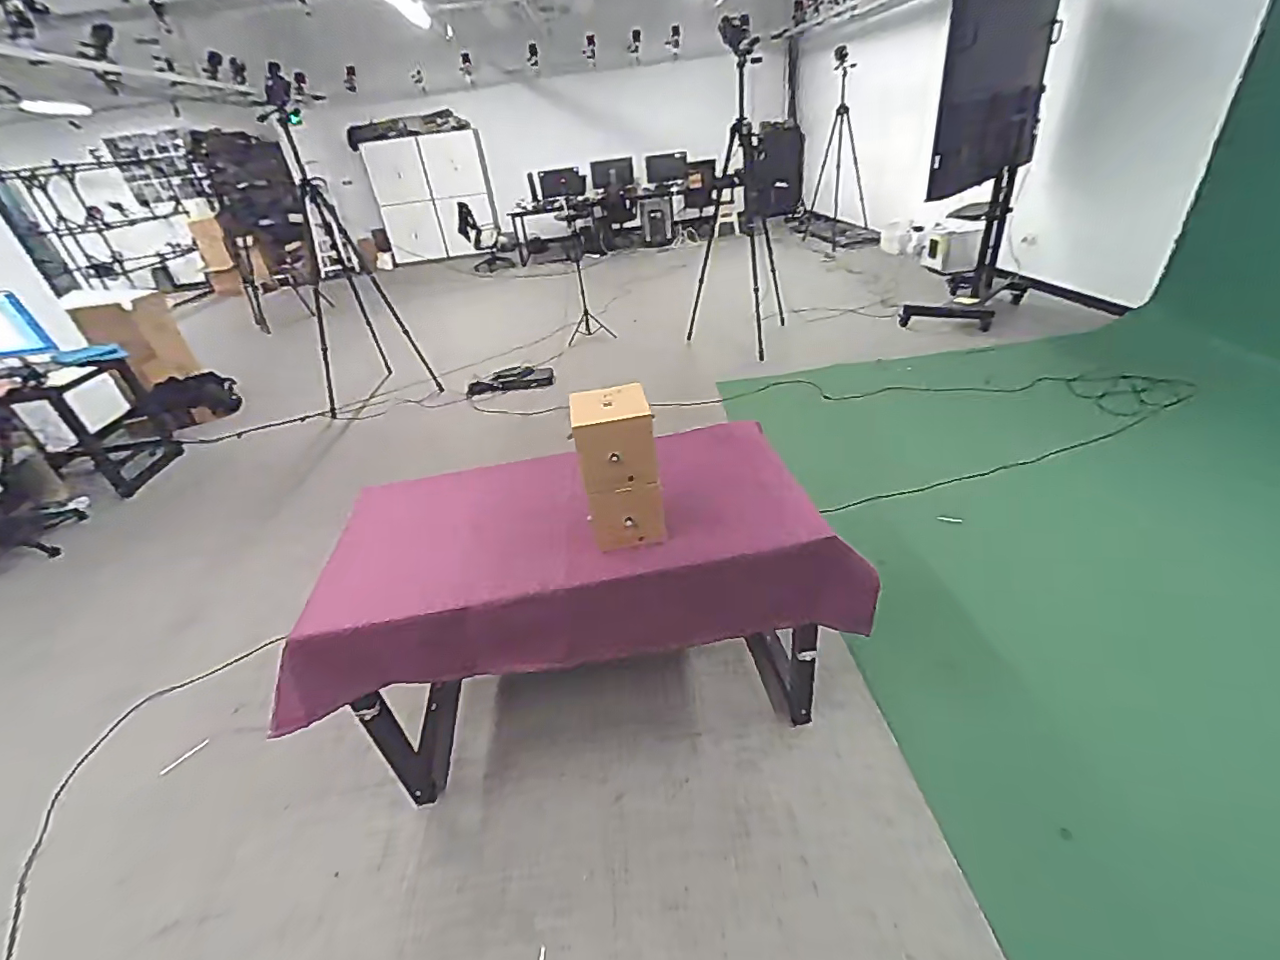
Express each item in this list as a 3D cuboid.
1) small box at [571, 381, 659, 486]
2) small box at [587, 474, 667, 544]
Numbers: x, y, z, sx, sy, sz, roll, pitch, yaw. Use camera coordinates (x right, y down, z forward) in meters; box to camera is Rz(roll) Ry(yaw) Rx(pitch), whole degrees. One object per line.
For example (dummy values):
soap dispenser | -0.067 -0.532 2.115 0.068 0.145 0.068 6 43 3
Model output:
small box | -0.056 -0.099 1.202 0.168 0.176 0.179 -10 32 -3
small box | -0.034 0.038 1.291 0.168 0.176 0.179 -9 33 -2
